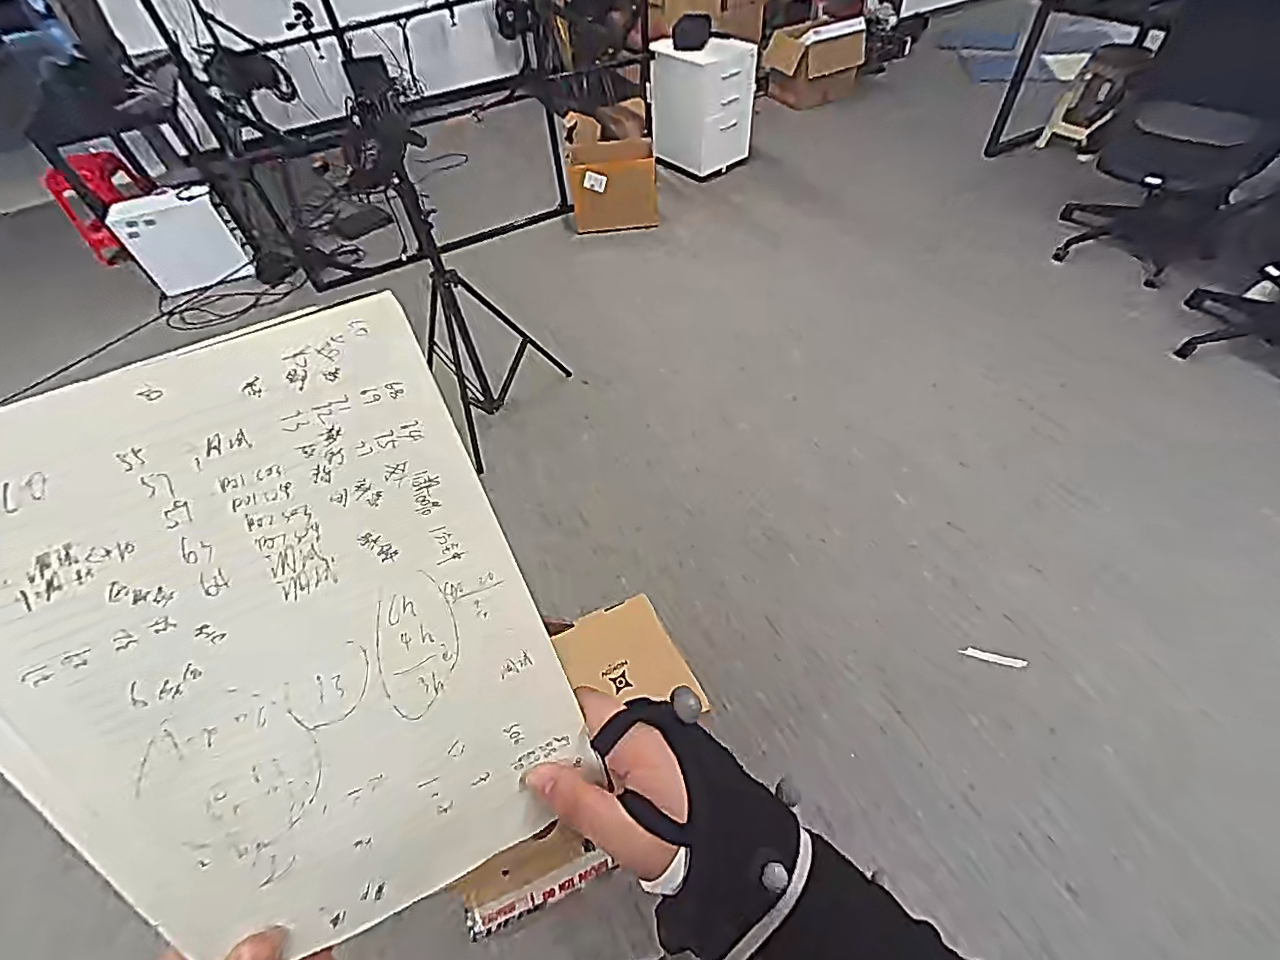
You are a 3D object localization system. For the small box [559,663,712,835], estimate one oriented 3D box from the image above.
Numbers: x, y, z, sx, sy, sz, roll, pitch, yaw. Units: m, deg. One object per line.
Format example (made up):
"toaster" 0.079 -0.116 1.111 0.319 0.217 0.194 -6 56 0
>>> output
"small box" -0.008 0.426 0.854 0.179 0.176 0.168 -25 55 -16

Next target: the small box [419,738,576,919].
"small box" -0.201 0.511 0.801 0.179 0.176 0.168 -20 54 -9
